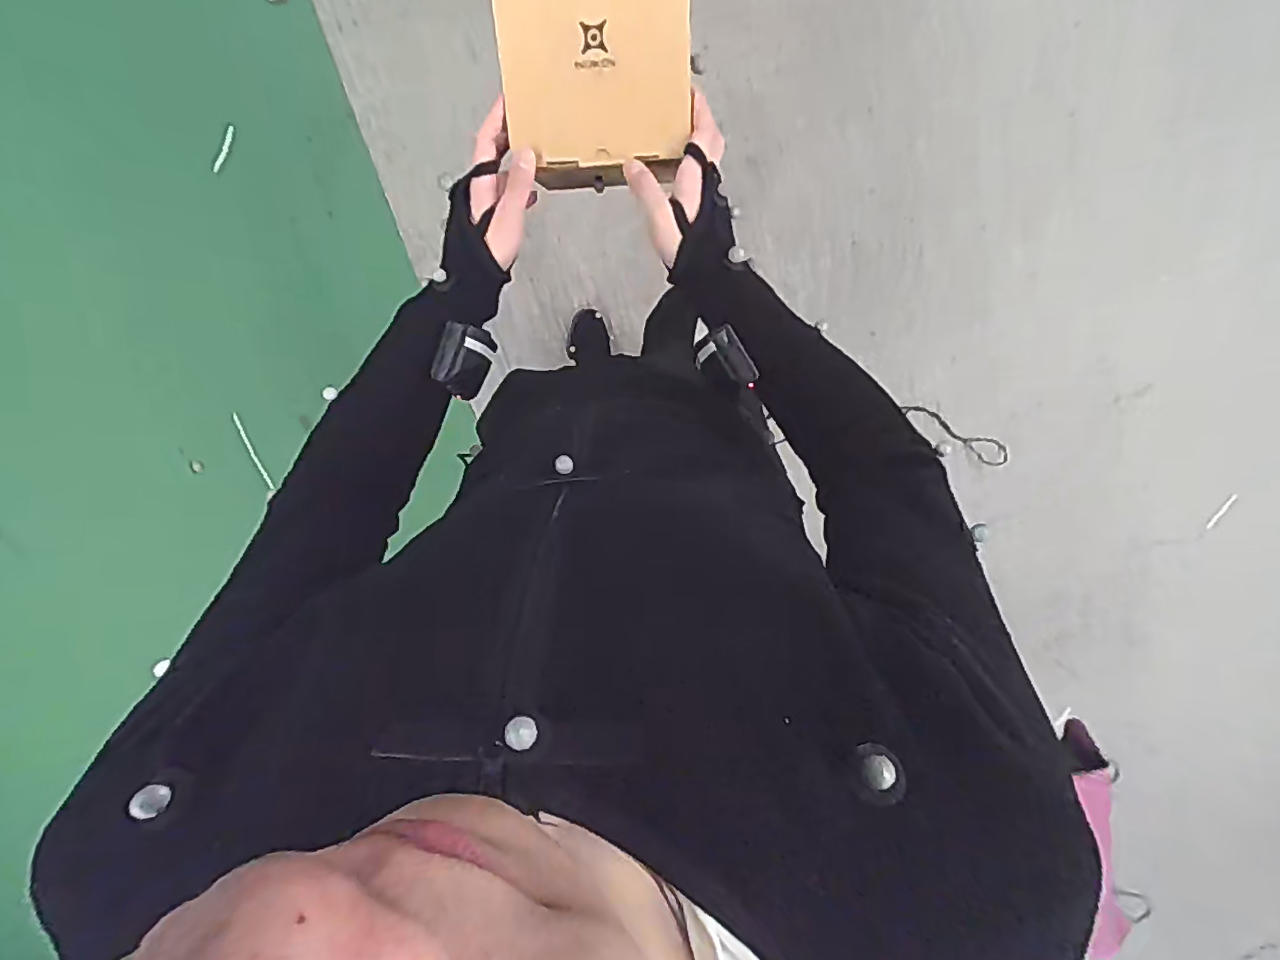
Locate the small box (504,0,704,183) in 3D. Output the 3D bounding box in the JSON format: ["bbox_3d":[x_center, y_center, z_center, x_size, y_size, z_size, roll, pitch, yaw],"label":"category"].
[{"bbox_3d":[-0.030,-0.398,0.521,0.168,0.176,0.179,-3,114,1],"label":"small box"}]
